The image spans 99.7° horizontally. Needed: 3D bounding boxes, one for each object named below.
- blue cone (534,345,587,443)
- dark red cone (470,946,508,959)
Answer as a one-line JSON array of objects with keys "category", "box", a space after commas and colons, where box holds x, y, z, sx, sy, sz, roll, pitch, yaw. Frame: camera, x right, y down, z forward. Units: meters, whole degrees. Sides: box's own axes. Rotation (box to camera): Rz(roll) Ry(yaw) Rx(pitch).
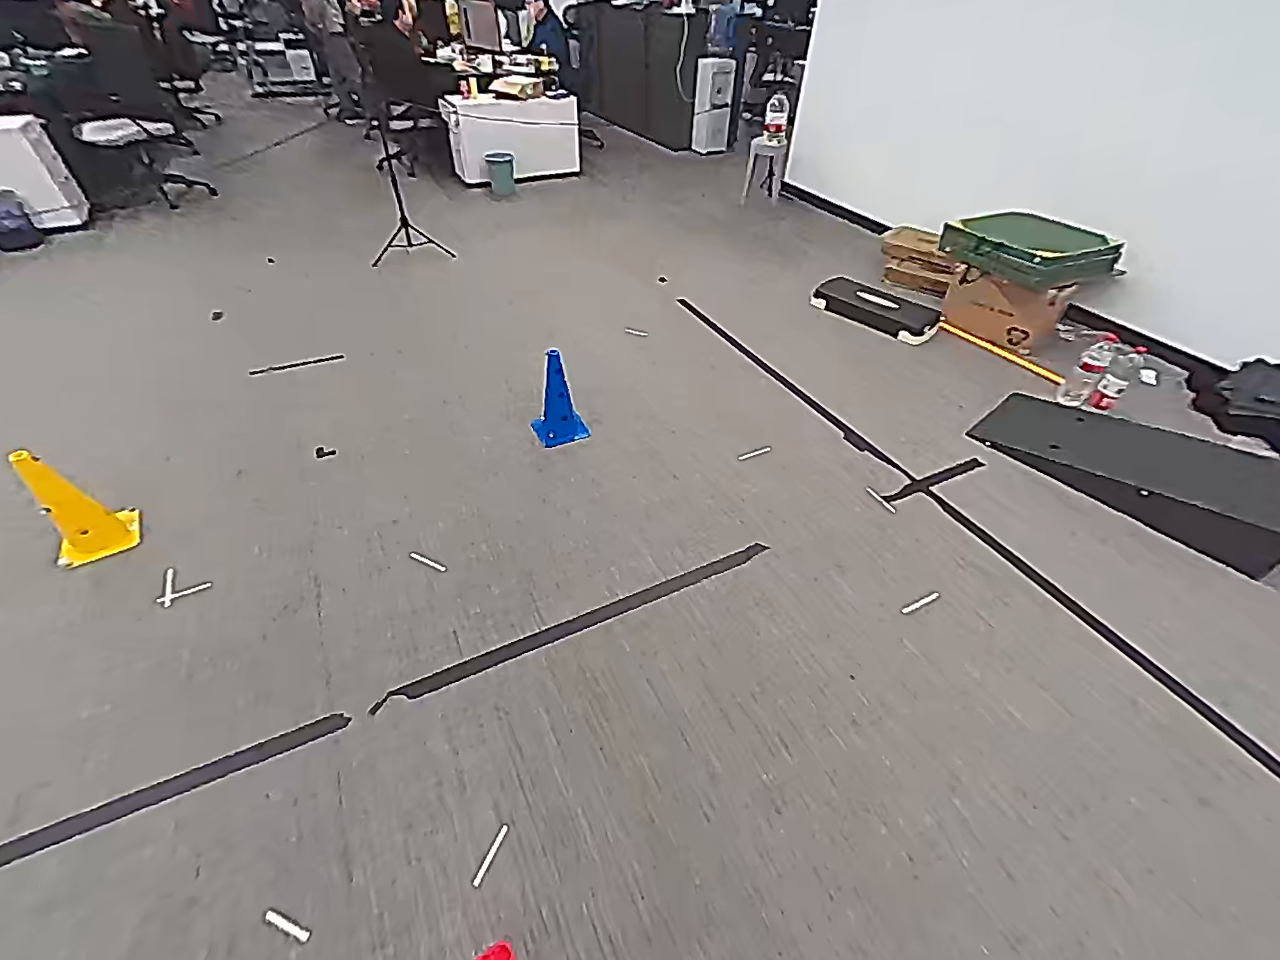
[{"category": "blue cone", "box": [-0.323, -0.344, 2.113, 0.193, 0.380, 0.192, -17, 45, -20]}, {"category": "dark red cone", "box": [-0.290, 0.838, 0.809, 0.202, 0.394, 0.201, -24, 48, -25]}]
